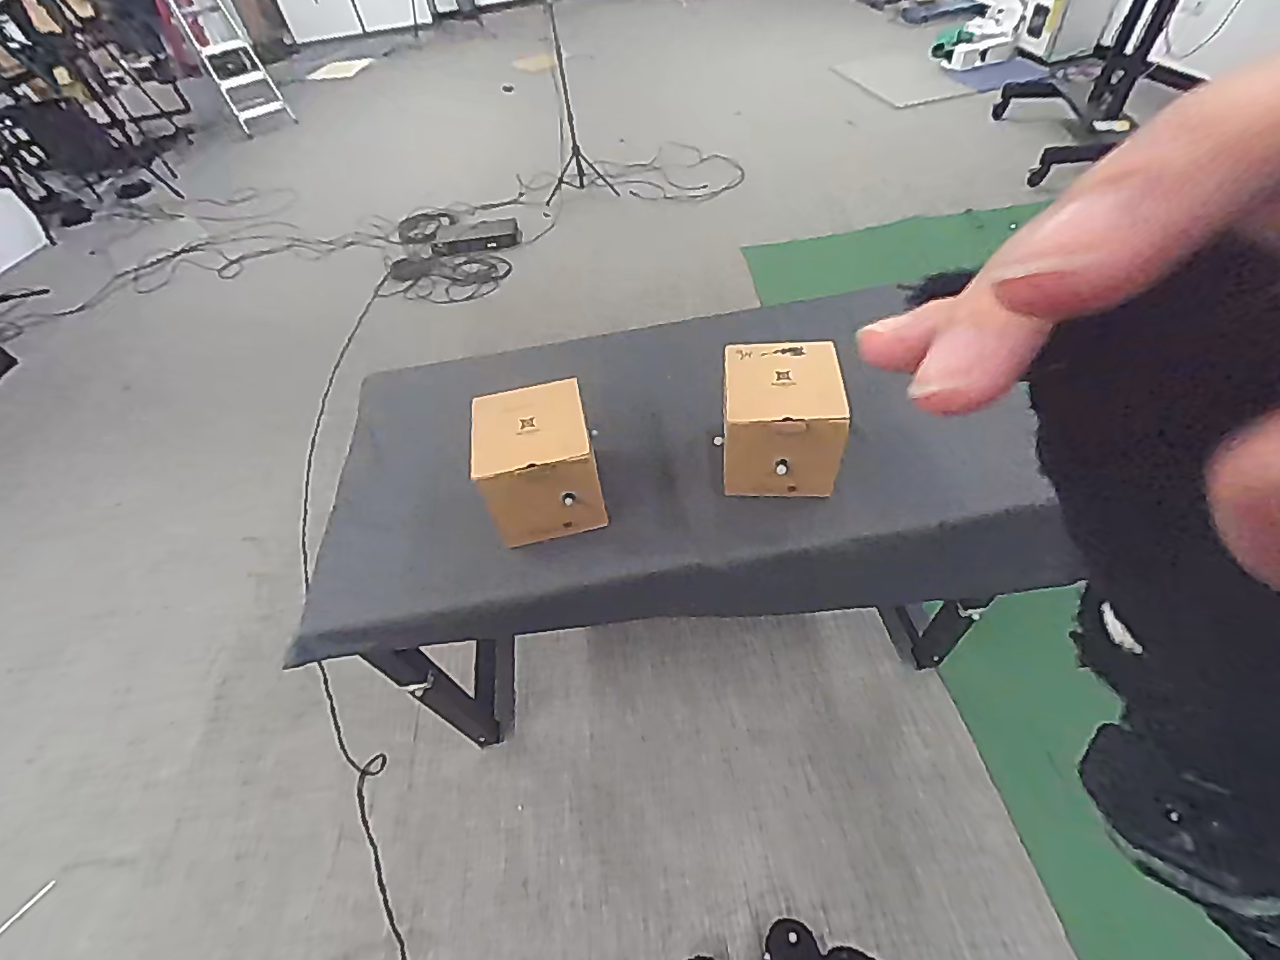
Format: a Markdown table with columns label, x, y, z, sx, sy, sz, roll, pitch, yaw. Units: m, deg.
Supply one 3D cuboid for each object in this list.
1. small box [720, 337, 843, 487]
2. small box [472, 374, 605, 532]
| label | x | y | z | sx | sy | sz | roll | pitch | yaw |
| --- | --- | --- | --- | --- | --- | --- | --- | --- | --- |
| small box | 0.213 | -0.103 | 0.855 | 0.168 | 0.176 | 0.179 | 0 | 51 | 7 |
| small box | -0.156 | -0.036 | 0.849 | 0.168 | 0.176 | 0.179 | -12 | 48 | -5 |
